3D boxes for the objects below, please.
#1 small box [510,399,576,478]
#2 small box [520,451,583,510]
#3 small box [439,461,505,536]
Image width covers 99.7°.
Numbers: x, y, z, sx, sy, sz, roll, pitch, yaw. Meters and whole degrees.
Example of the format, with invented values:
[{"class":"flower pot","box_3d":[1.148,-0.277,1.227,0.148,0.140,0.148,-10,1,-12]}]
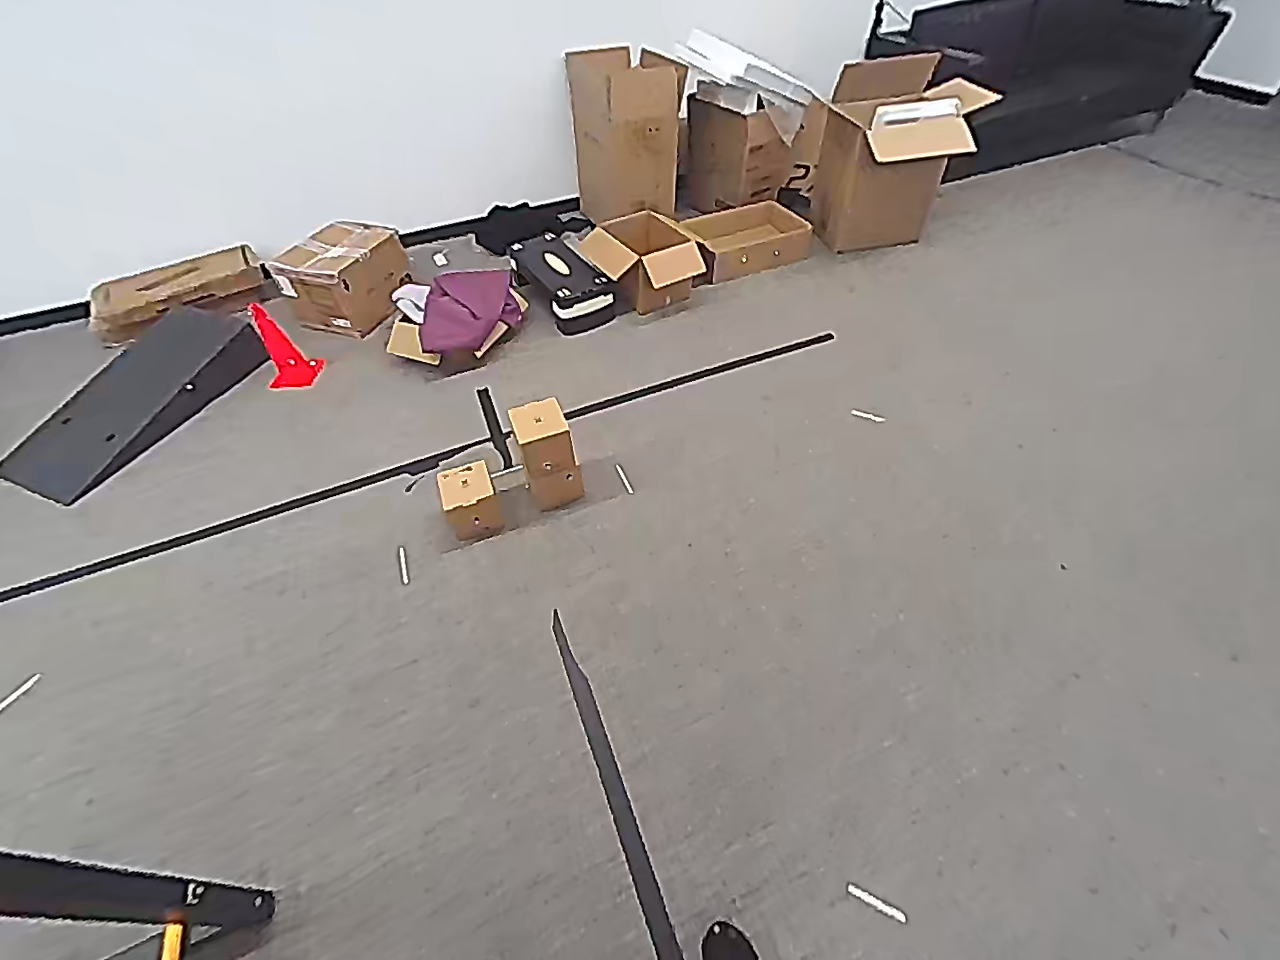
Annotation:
[{"class":"small box","box_3d":[-0.321,-0.137,1.799,0.168,0.176,0.179,-19,52,-13]},{"class":"small box","box_3d":[-0.306,-0.023,1.914,0.179,0.176,0.168,-20,51,-15]},{"class":"small box","box_3d":[-0.570,0.070,1.845,0.168,0.176,0.179,-18,51,-12]}]
